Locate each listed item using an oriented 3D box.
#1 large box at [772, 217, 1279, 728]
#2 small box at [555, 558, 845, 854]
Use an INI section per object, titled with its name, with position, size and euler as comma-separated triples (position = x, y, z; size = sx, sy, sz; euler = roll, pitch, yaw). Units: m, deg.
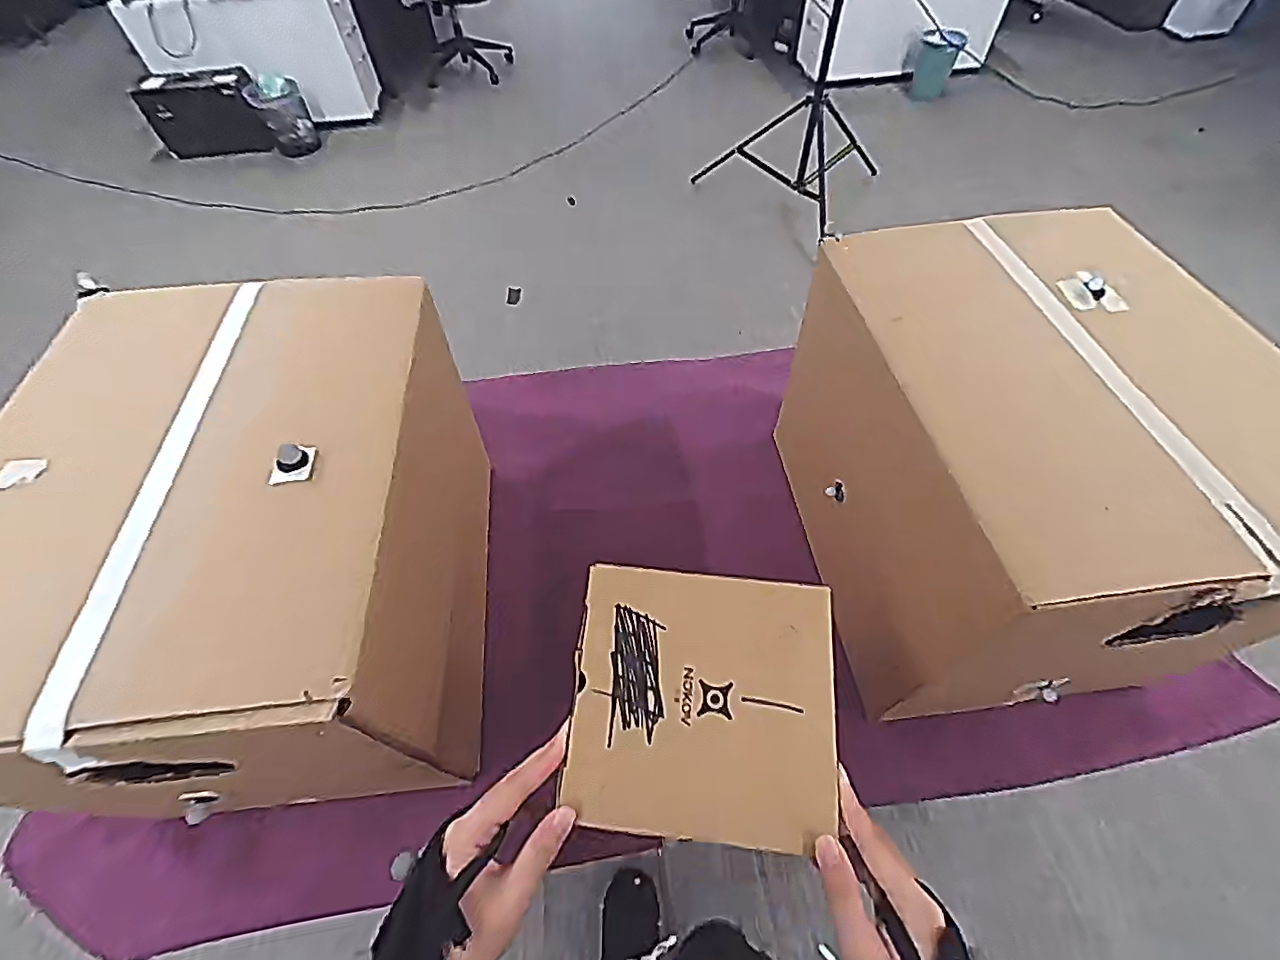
[large box]
position = 0.359, -0.009, 0.559
size = 0.320, 0.320, 0.408
euler = -7, 53, -3
[small box]
position = 0.045, 0.171, 0.425
size = 0.179, 0.176, 0.168
euler = 5, 65, 4
